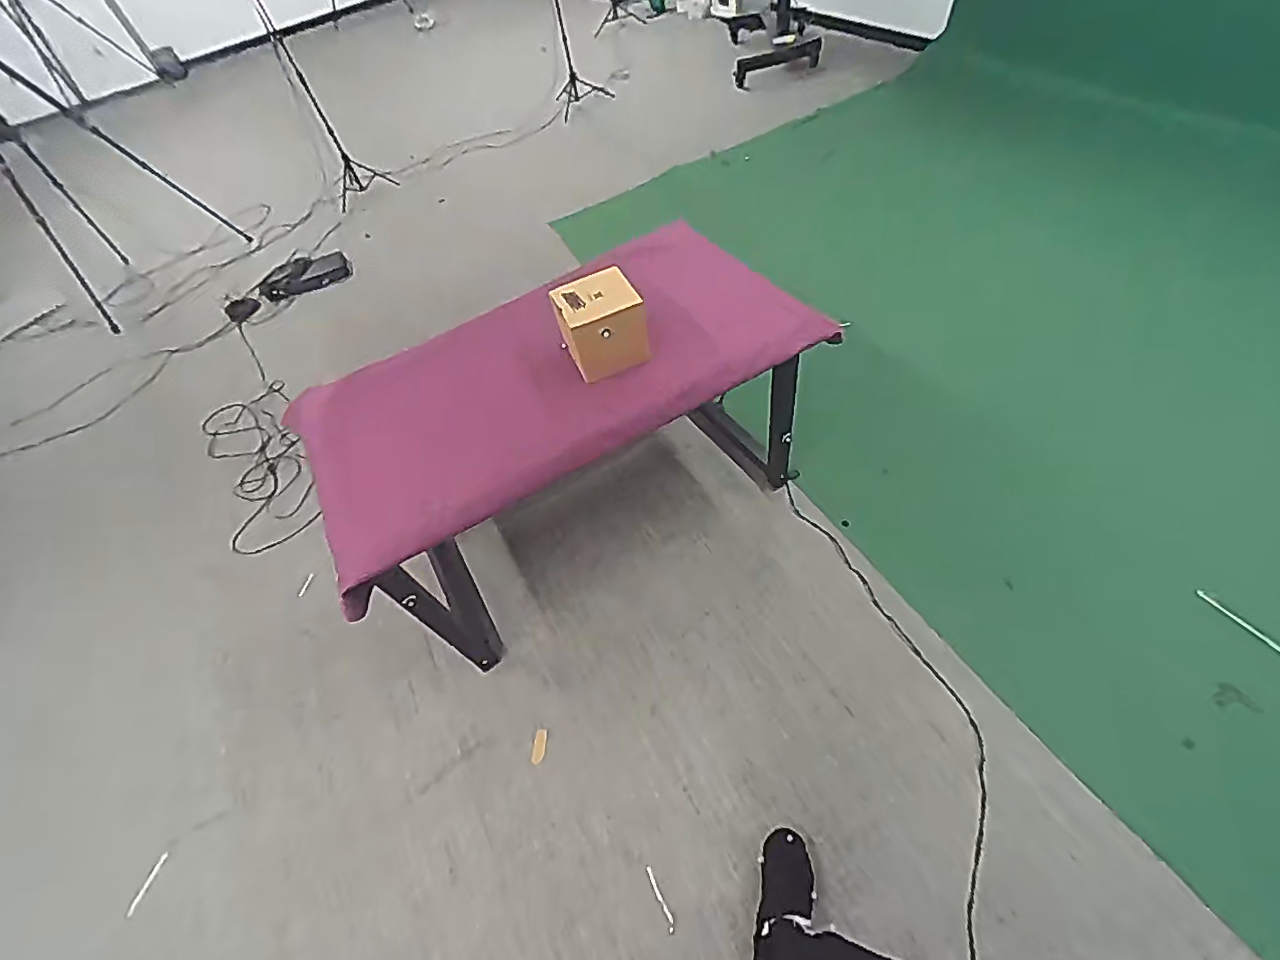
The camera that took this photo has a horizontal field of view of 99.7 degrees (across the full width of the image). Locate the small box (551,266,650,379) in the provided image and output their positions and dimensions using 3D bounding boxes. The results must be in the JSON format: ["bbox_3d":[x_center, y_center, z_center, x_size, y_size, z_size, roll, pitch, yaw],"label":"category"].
[{"bbox_3d":[-0.089,-0.368,1.282,0.179,0.176,0.168,-23,54,-7],"label":"small box"}]
